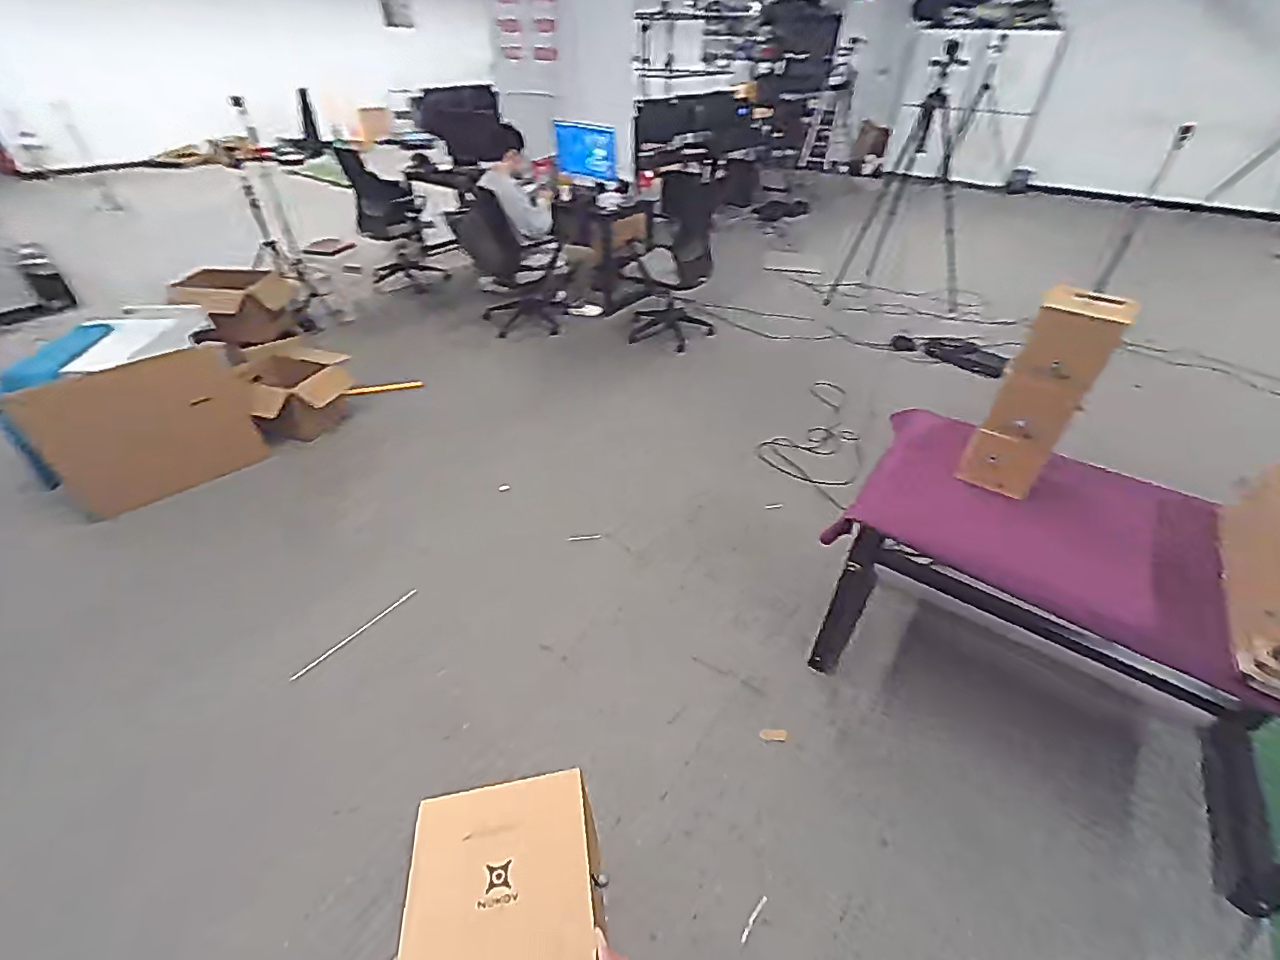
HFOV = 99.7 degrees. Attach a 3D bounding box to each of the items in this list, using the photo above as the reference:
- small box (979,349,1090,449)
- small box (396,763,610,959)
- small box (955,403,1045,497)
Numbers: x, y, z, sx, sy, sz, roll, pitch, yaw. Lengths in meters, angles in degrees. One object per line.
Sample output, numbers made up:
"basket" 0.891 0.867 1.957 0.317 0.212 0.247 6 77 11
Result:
"small box" 0.996 -0.207 1.373 0.168 0.176 0.179 28 46 30
"small box" -0.121 0.419 0.535 0.168 0.176 0.179 -7 36 -5
"small box" 0.987 -0.080 1.478 0.168 0.176 0.179 24 44 26
